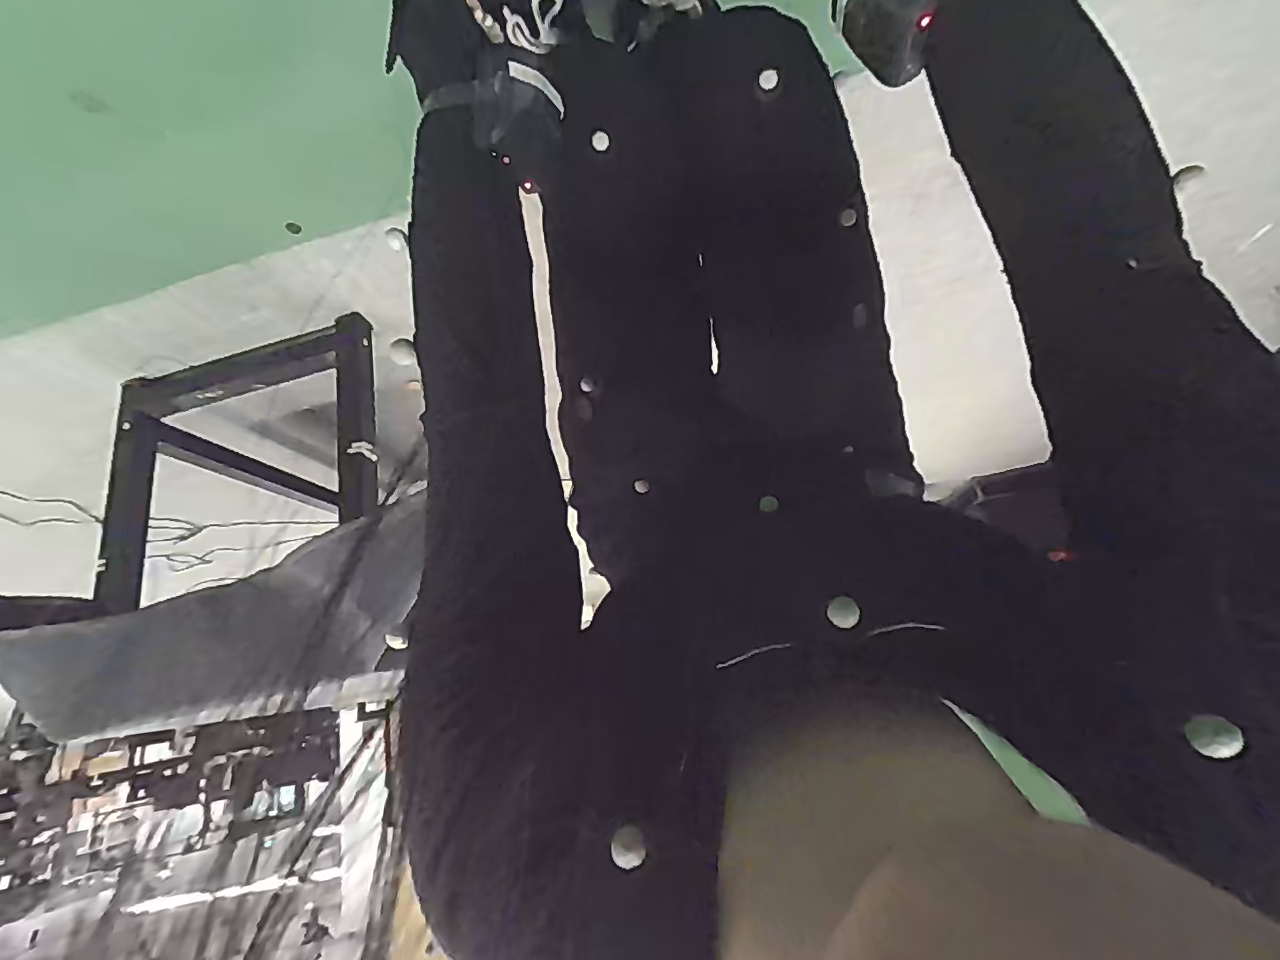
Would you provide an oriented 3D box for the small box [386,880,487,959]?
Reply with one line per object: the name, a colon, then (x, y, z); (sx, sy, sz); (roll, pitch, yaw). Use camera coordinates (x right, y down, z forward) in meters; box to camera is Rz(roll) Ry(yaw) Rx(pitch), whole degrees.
small box: (-0.492, 1.102, 1.308); (0.179, 0.176, 0.168); (-13, 160, 7)
